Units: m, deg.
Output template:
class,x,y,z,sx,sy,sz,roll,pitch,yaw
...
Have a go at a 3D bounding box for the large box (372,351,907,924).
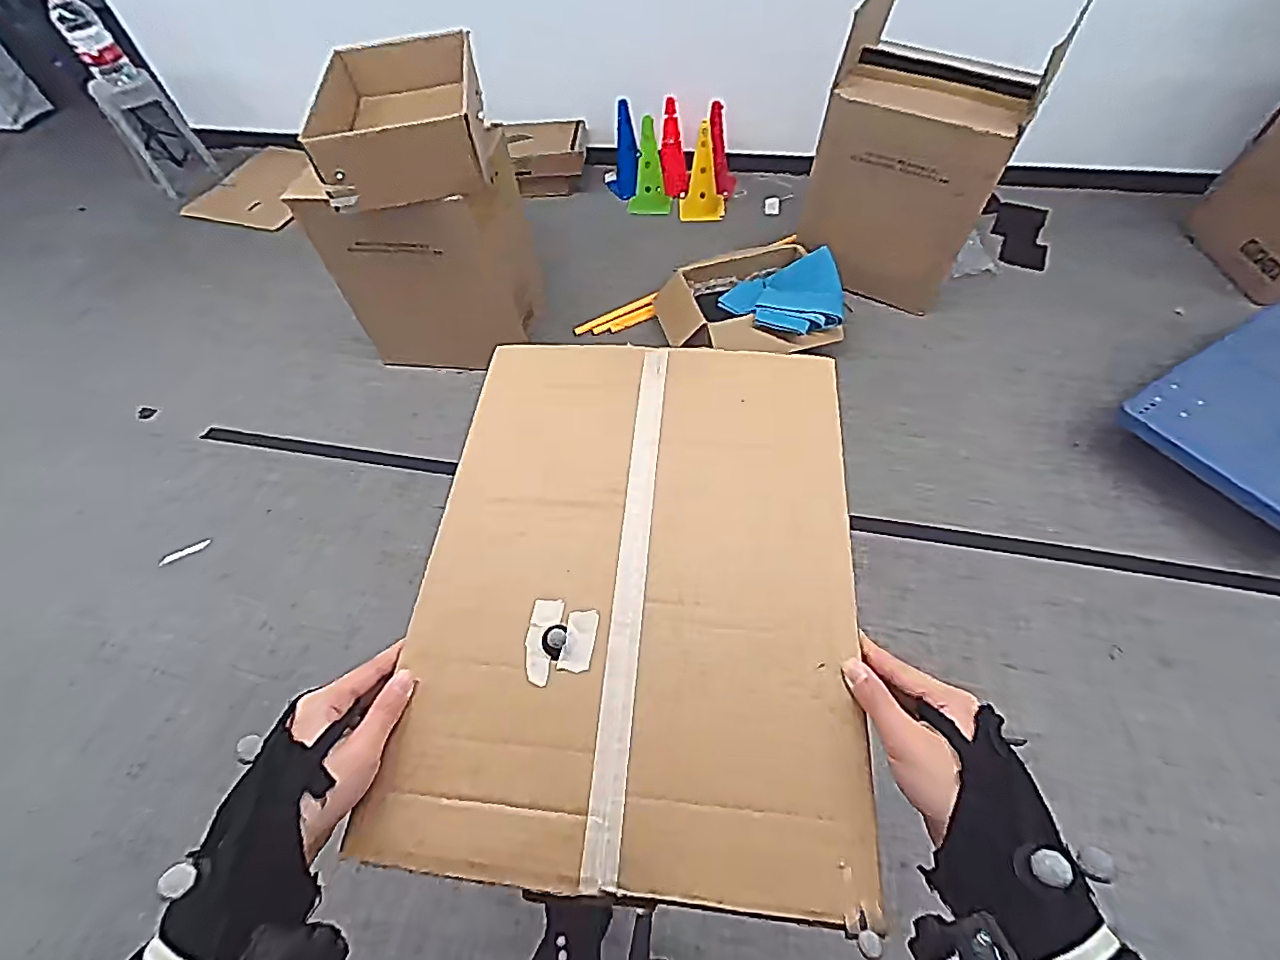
class,x,y,z,sx,sy,sz,roll,pitch,yaw
large box,0.014,0.131,0.527,0.320,0.320,0.408,2,61,6
